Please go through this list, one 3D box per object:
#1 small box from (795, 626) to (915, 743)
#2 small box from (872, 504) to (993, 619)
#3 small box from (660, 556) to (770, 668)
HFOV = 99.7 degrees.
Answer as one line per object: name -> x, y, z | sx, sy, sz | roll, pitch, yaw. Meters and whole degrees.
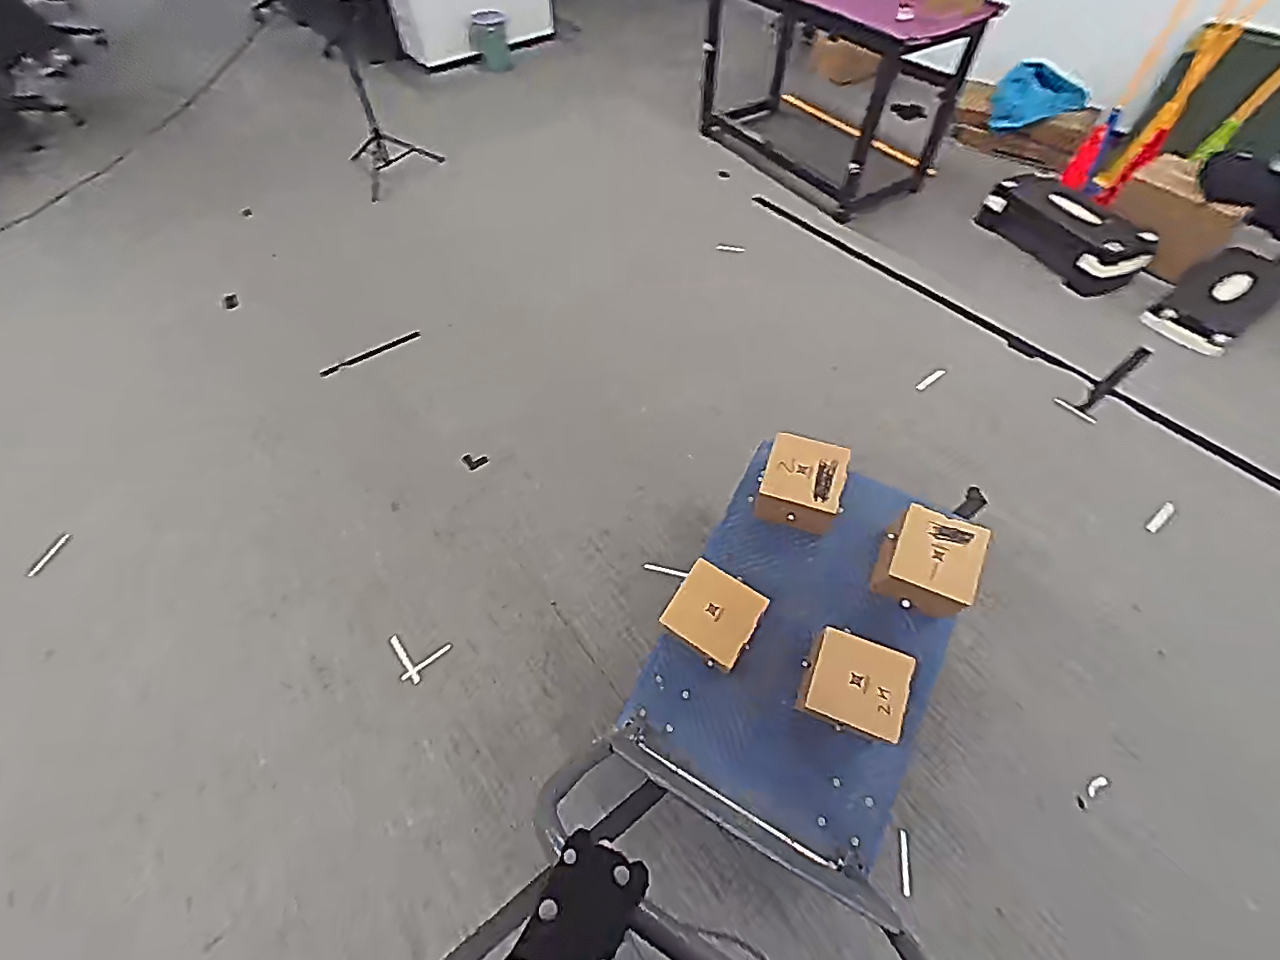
small box -> 0.433, 0.423, 1.113 | 0.179, 0.176, 0.168 | 19, 71, 15
small box -> 0.633, 0.184, 1.190 | 0.168, 0.176, 0.179 | 22, 72, 16
small box -> 0.164, 0.301, 1.203 | 0.179, 0.176, 0.168 | 31, 74, 17
